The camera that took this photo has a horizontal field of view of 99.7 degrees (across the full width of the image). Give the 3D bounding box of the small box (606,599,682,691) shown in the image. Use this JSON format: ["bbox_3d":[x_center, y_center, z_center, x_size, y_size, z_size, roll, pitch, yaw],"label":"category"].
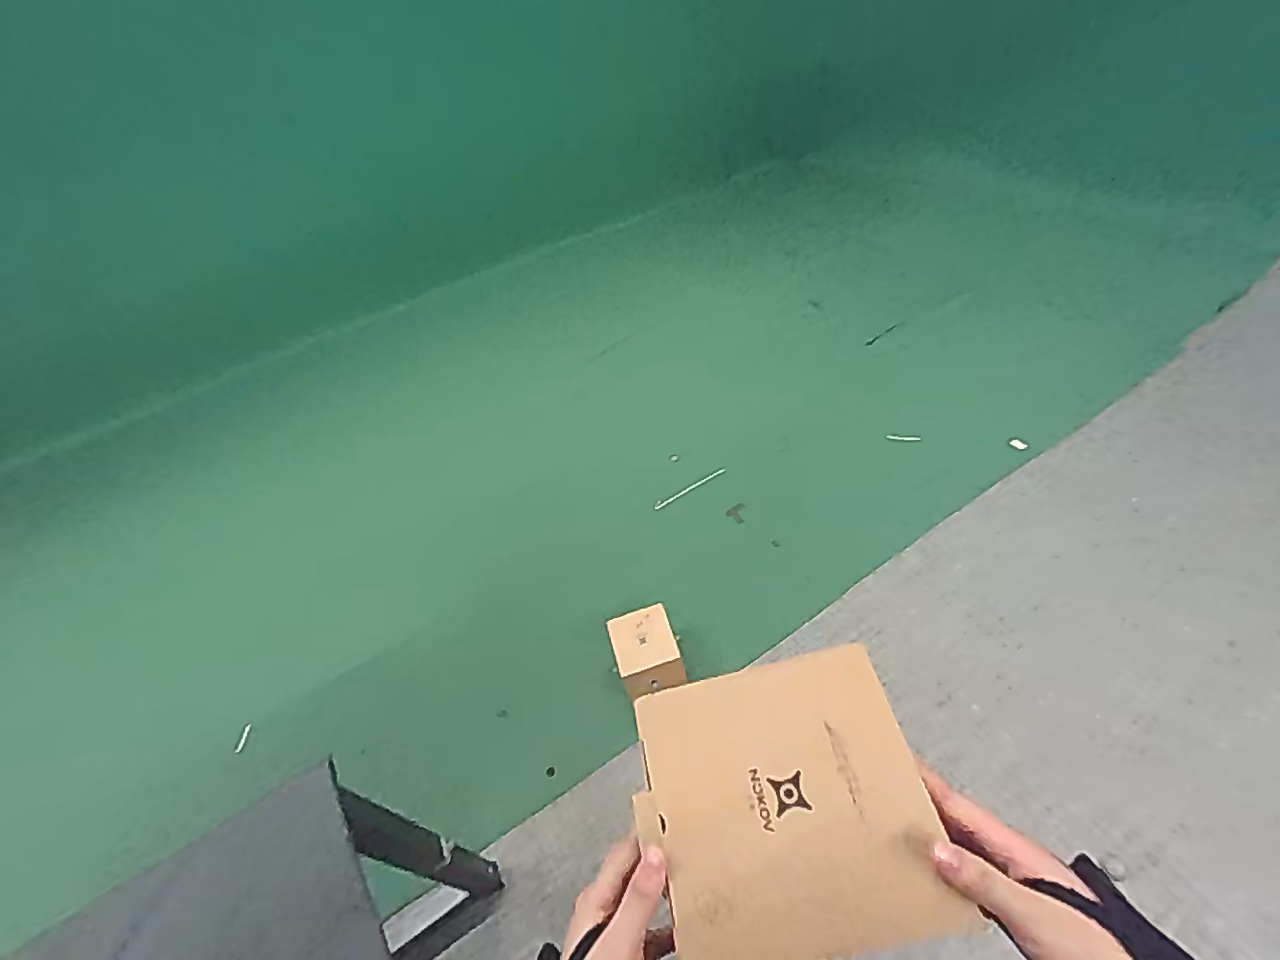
[{"bbox_3d":[0.014,0.468,1.511,0.168,0.176,0.179,-16,46,-5],"label":"small box"}]
